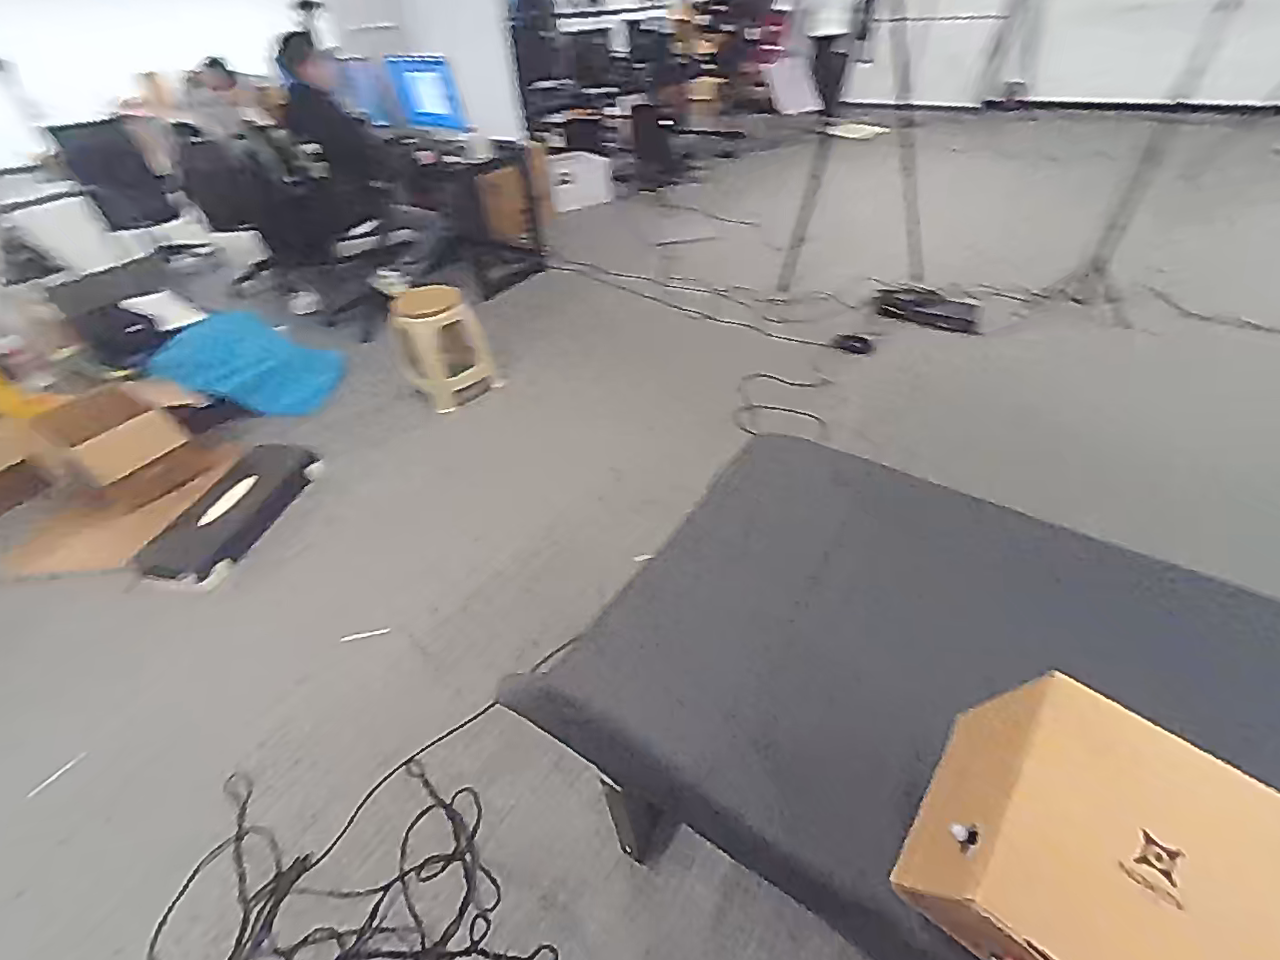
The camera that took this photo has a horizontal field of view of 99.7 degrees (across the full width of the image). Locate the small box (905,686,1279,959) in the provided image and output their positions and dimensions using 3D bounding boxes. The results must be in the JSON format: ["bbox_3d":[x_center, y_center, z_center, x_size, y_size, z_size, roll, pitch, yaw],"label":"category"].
[{"bbox_3d":[0.324,0.287,0.394,0.168,0.176,0.179,30,65,22],"label":"small box"}]
